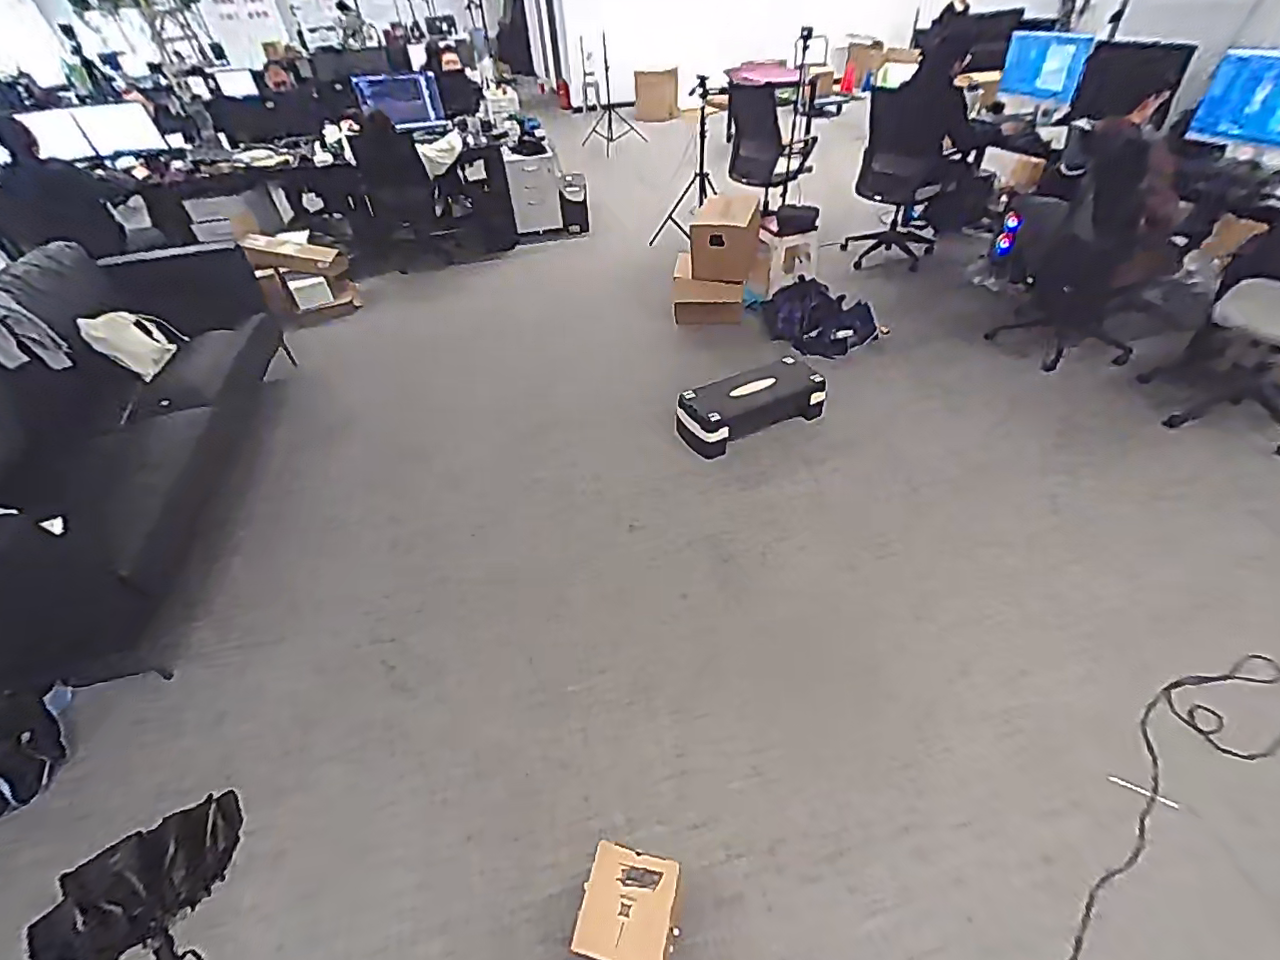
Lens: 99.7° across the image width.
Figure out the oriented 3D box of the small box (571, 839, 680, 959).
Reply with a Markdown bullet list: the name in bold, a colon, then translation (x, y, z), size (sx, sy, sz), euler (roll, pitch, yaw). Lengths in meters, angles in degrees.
- **small box**: translation (-0.019, 0.845, 1.056), size (0.168, 0.176, 0.179), euler (7, 45, 14)
